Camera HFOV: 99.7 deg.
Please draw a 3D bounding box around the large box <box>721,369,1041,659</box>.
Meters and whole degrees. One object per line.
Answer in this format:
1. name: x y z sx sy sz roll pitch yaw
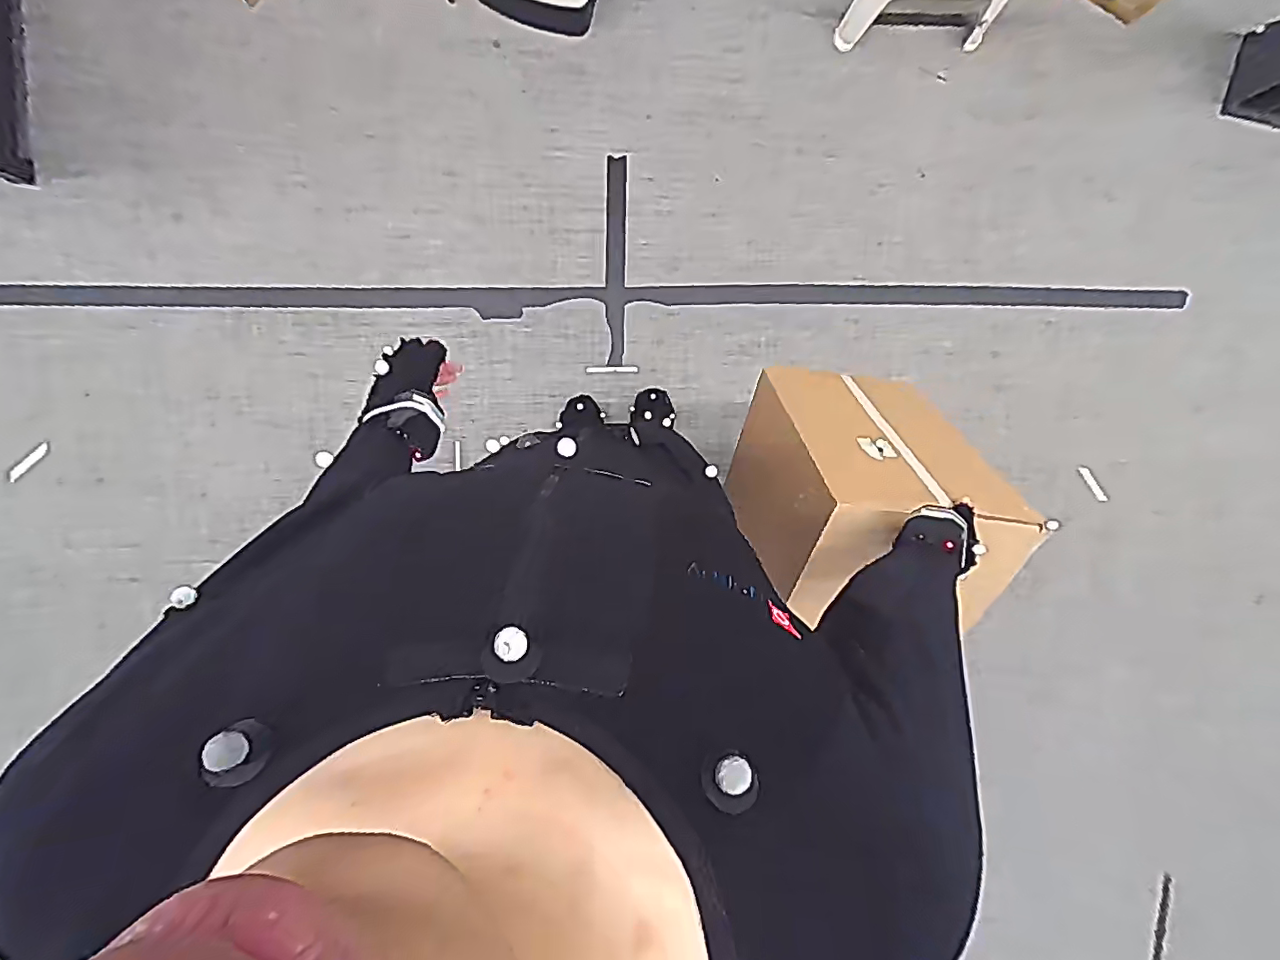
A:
1. large box: 0.363 0.049 0.961 0.320 0.408 0.320 7 127 -9
